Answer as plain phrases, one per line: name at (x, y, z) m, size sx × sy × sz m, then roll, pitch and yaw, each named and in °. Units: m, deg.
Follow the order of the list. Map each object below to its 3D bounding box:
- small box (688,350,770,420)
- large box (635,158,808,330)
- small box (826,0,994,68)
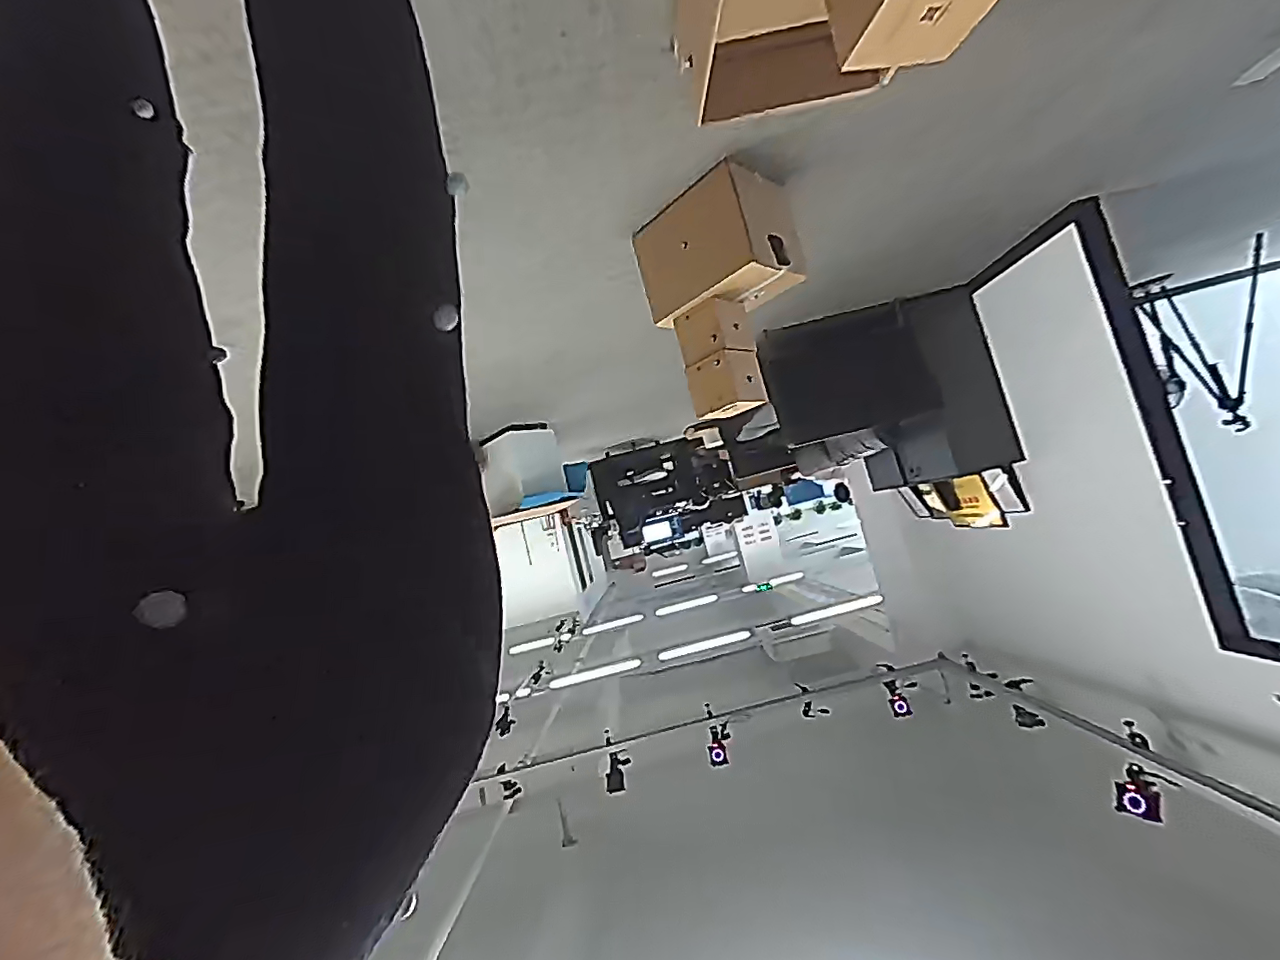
small box at (0.278, -0.300, 1.708) m, size 0.179 × 0.176 × 0.168 m, roll -11°, pitch 173°, yaw -45°
large box at (0.247, -0.716, 1.717) m, size 0.320 × 0.320 × 0.408 m, roll -11°, pitch 173°, yaw -44°
small box at (0.361, -0.684, 0.698) m, size 0.179 × 0.176 × 0.168 m, roll -13°, pitch 178°, yaw -10°
